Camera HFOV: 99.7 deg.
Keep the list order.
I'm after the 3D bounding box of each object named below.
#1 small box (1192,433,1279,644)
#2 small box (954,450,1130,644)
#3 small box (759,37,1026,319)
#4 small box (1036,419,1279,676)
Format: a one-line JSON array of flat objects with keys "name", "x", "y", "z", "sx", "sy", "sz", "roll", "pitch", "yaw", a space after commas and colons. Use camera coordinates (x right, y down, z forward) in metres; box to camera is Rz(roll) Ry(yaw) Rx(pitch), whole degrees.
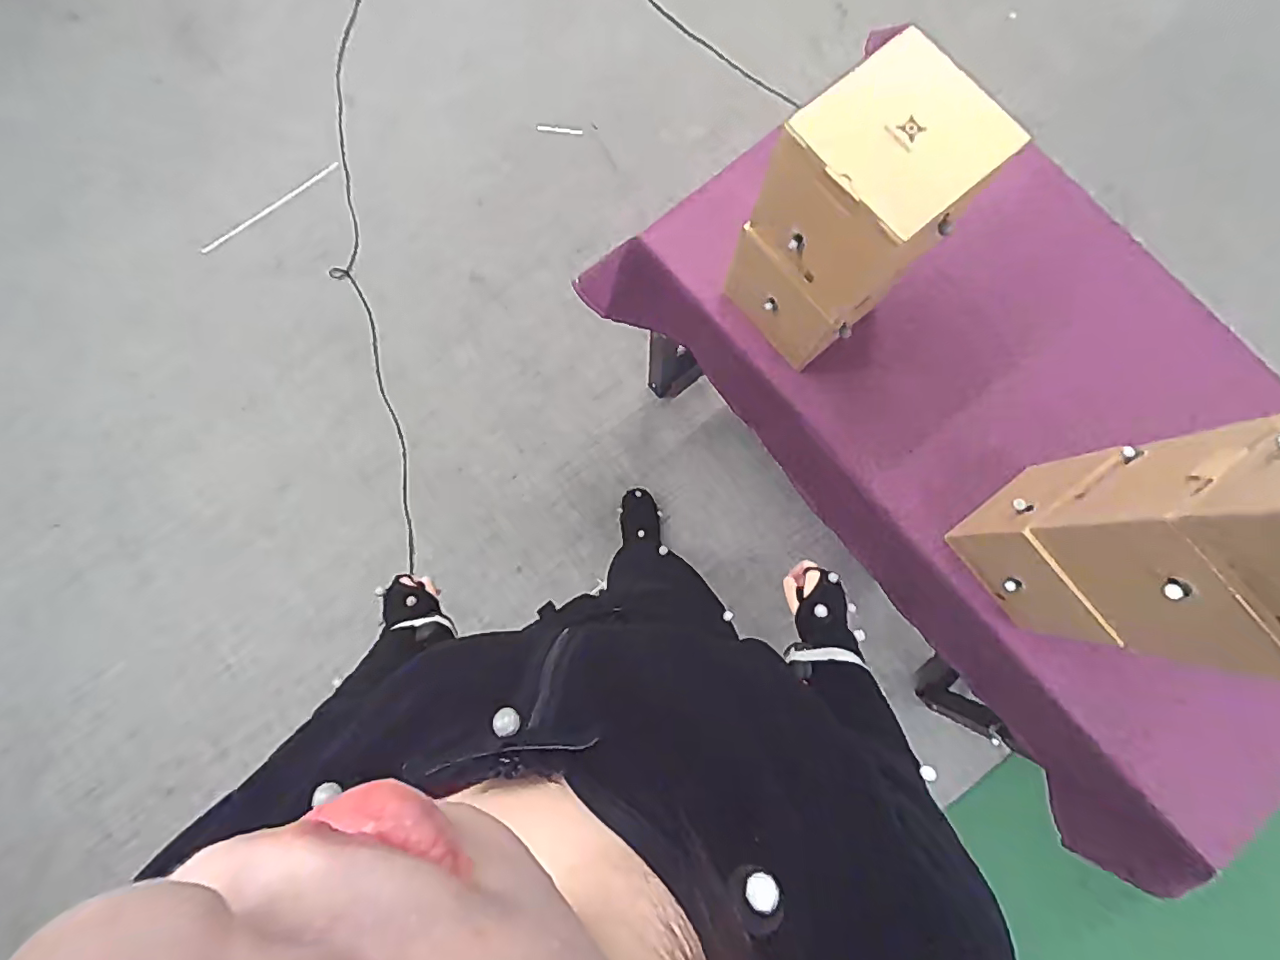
[{"name": "small box", "x": 0.574, "y": 0.040, "z": 0.388, "sx": 0.179, "sy": 0.176, "sz": 0.168, "roll": -36, "pitch": 84, "yaw": -5}, {"name": "small box", "x": 0.557, "y": 0.089, "z": 0.714, "sx": 0.179, "sy": 0.176, "sz": 0.168, "roll": -36, "pitch": 84, "yaw": -6}, {"name": "small box", "x": 0.259, "y": -0.318, "z": 0.603, "sx": 0.179, "sy": 0.176, "sz": 0.168, "roll": -39, "pitch": 84, "yaw": -5}, {"name": "small box", "x": 0.566, "y": 0.070, "z": 0.550, "sx": 0.168, "sy": 0.176, "sz": 0.179, "roll": -36, "pitch": 84, "yaw": -5}]
